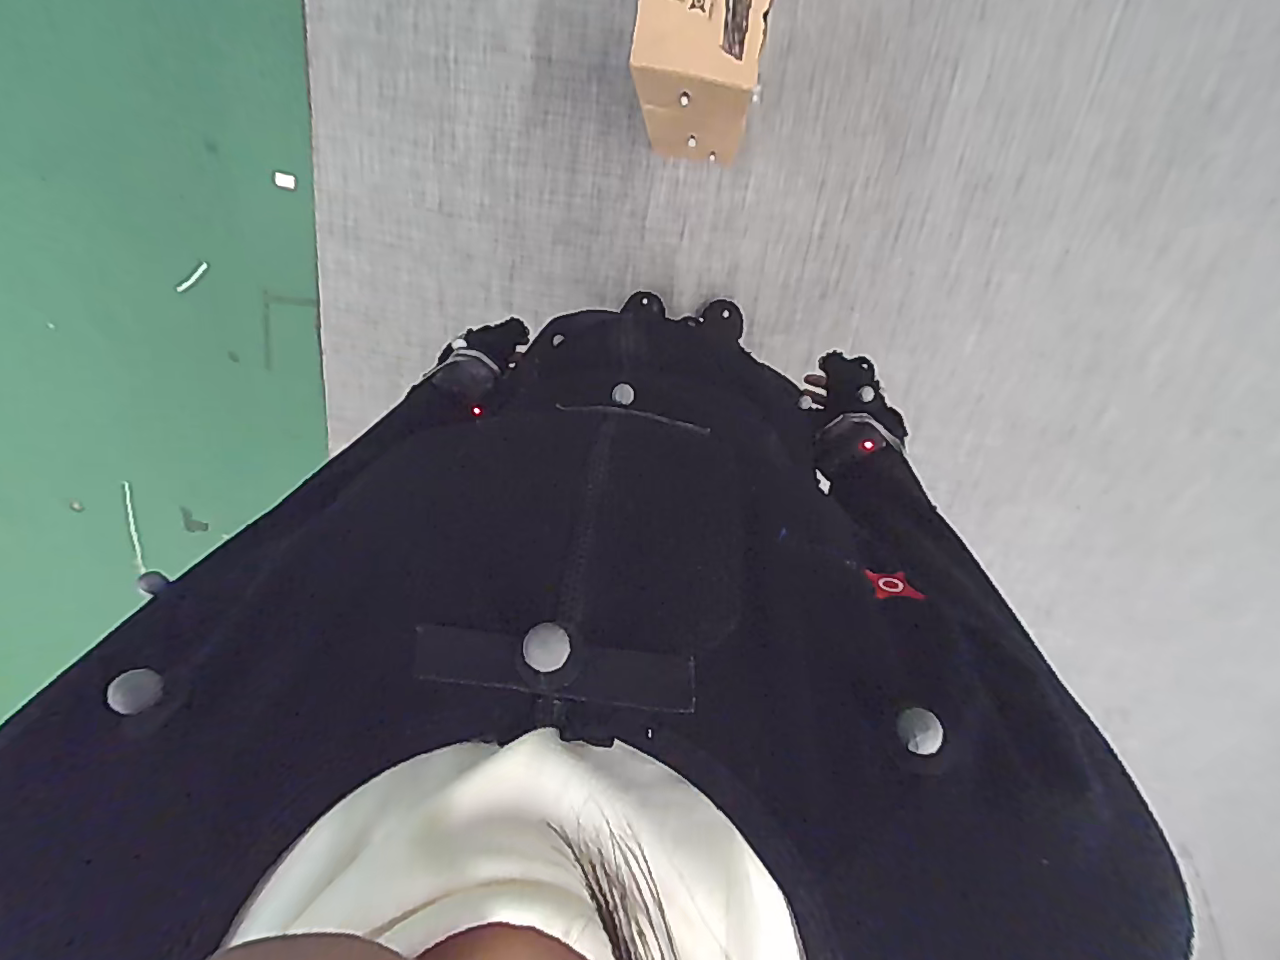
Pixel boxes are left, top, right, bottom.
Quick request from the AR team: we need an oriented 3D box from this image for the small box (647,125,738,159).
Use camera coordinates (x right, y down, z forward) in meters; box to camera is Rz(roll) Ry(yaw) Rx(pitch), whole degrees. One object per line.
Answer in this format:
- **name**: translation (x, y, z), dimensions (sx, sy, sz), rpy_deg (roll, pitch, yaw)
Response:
- **small box**: translation (0.120, -0.769, 1.100), dimensions (0.179, 0.176, 0.168), rpy_deg (10, 110, 4)

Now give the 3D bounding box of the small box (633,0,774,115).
- **small box**: translation (0.093, -0.659, 0.792), dimensions (0.179, 0.176, 0.168), rpy_deg (9, 110, 1)

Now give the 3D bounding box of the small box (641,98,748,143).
- **small box**: translation (0.107, -0.712, 0.947), dimensions (0.179, 0.176, 0.168), rpy_deg (11, 110, 1)
